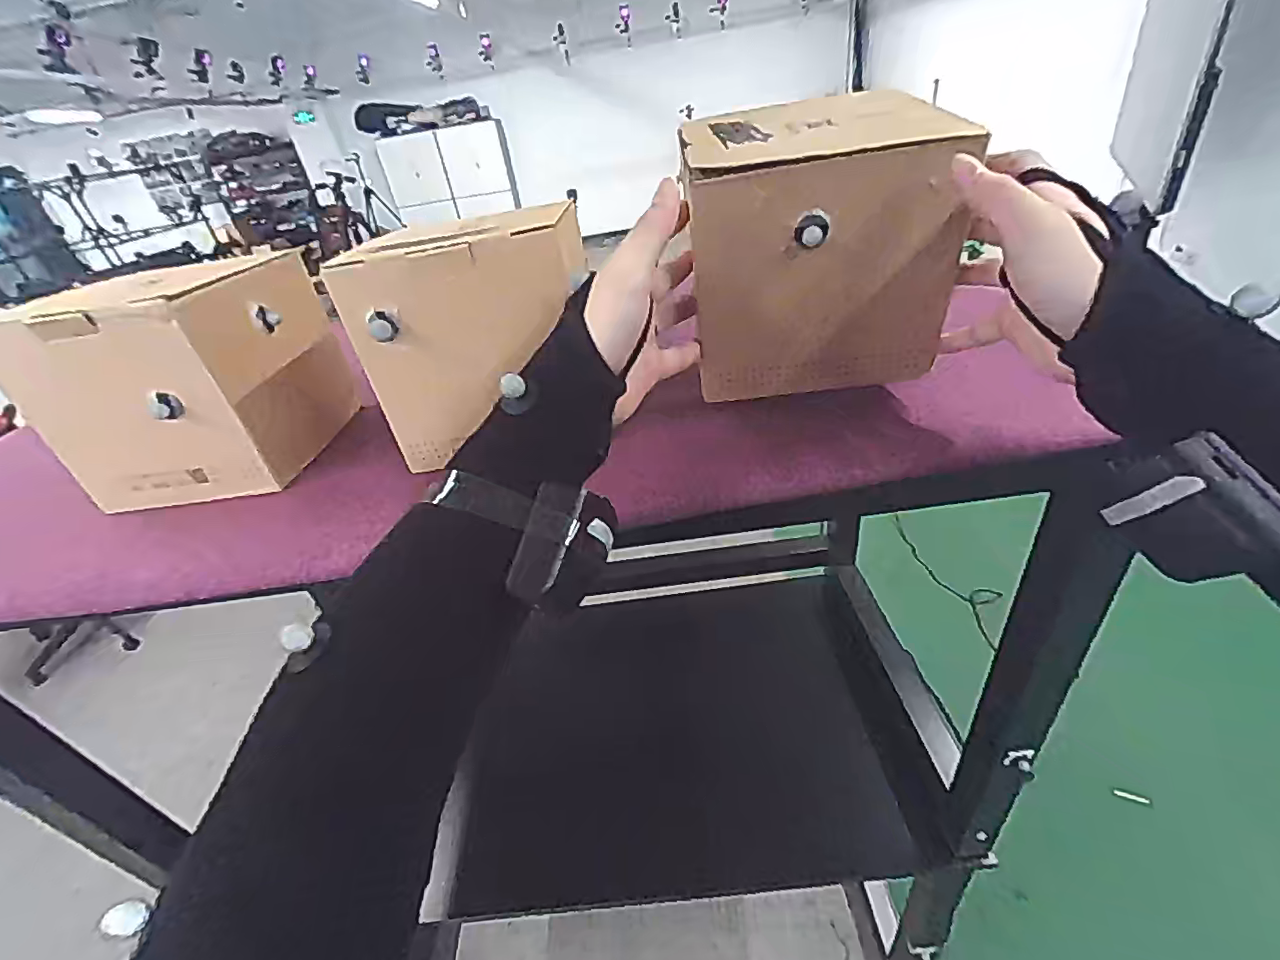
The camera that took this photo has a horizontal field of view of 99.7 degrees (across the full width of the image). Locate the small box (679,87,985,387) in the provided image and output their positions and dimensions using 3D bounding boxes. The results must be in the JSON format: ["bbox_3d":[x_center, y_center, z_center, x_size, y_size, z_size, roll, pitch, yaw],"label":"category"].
[{"bbox_3d":[0.128,-0.188,0.430,0.179,0.176,0.168,-5,42,6],"label":"small box"}]

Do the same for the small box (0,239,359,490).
[{"bbox_3d":[-0.390,-0.101,0.487,0.168,0.176,0.179,-6,33,4],"label":"small box"}]
